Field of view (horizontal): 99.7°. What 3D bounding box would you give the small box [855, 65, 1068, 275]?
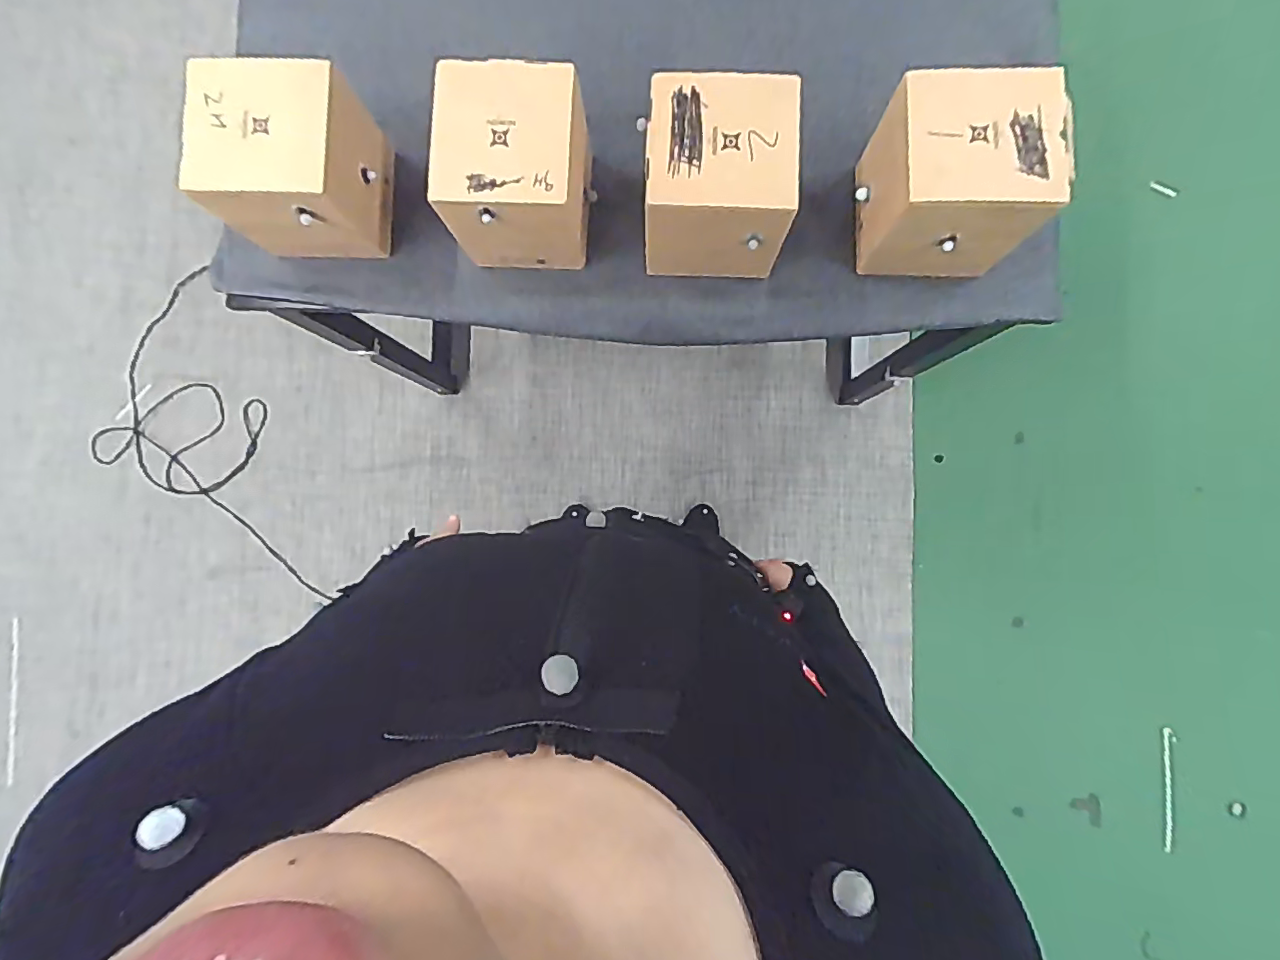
[{"bbox_3d":[0.389,-0.375,0.680,0.179,0.176,0.168,3,84,4],"label":"small box"}]
